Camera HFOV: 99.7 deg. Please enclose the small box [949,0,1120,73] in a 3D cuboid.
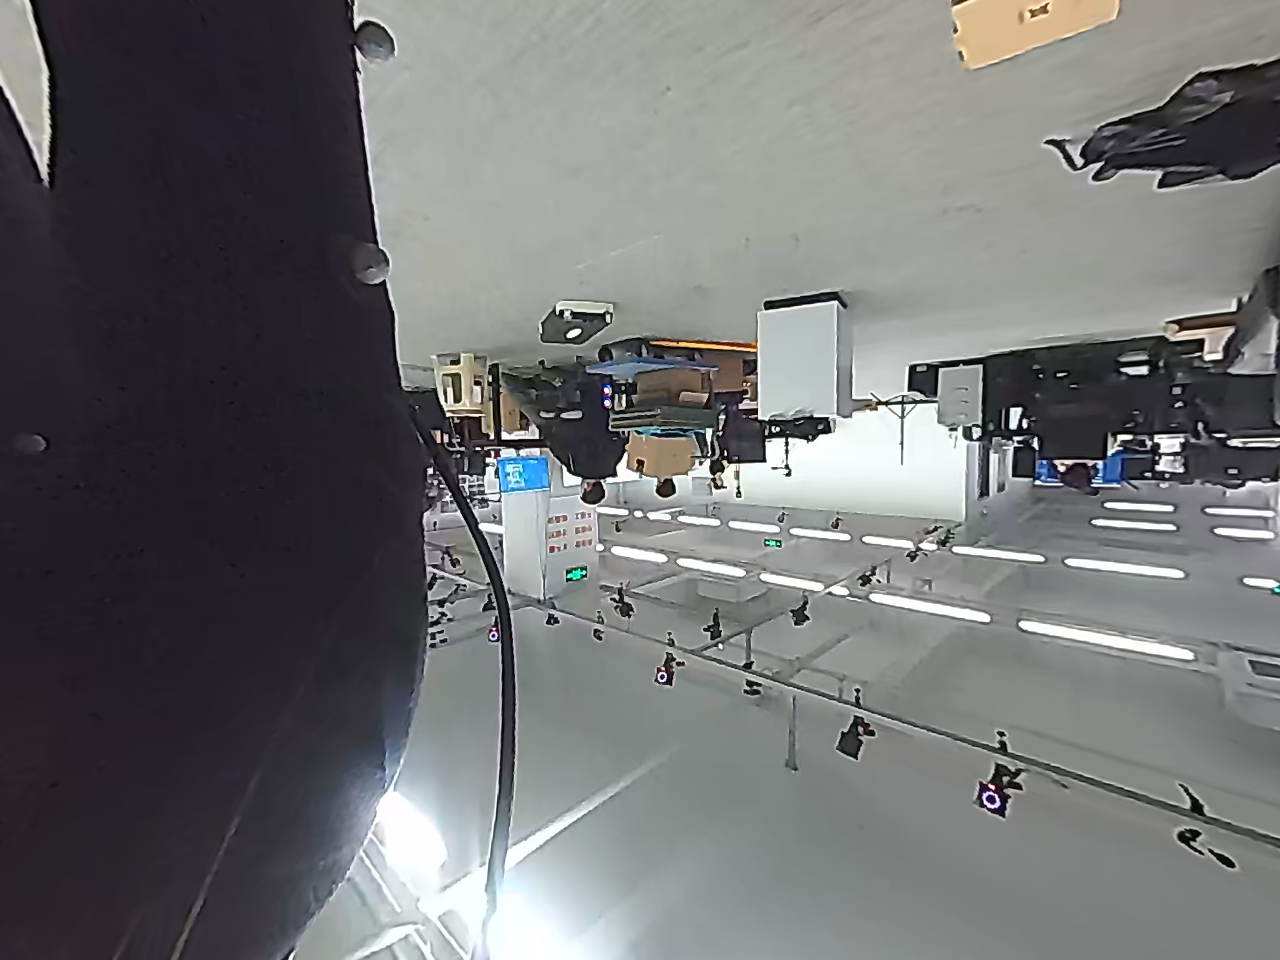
[{"bbox_3d":[0.504,-0.680,0.685,0.179,0.176,0.168,1,-173,37],"label":"small box"}]
